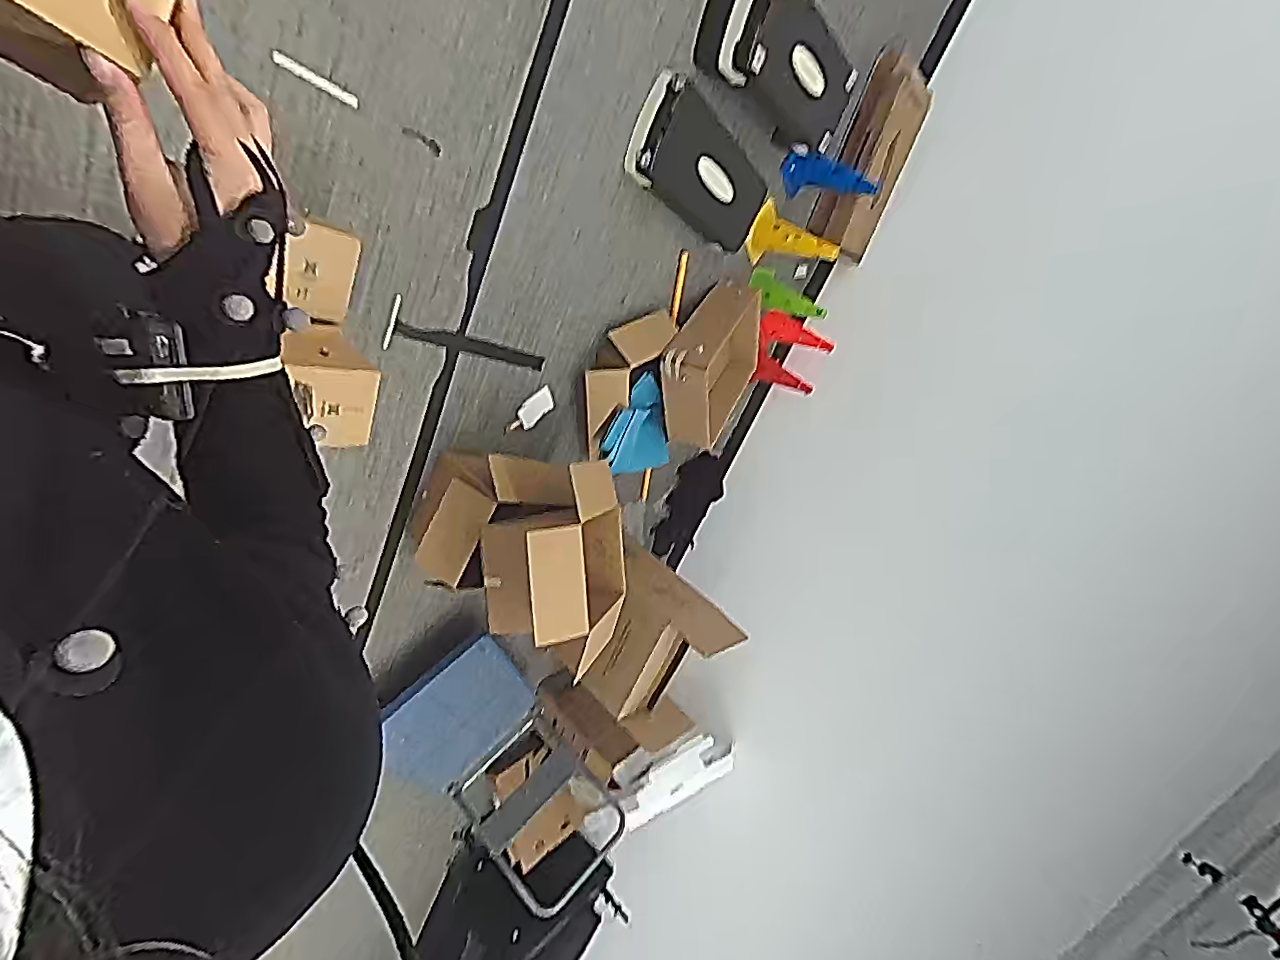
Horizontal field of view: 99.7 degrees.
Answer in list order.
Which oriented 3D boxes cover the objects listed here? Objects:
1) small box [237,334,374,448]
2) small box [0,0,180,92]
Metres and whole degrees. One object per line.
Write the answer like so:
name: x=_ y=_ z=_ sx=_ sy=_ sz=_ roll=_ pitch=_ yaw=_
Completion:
small box: x=-0.659 y=-0.173 z=1.059 sx=0.179 sy=0.176 sz=0.168 roll=-8 pitch=126 yaw=-53
small box: x=-0.330 y=-0.318 z=0.249 sx=0.179 sy=0.176 sz=0.168 roll=19 pitch=94 yaw=-54
